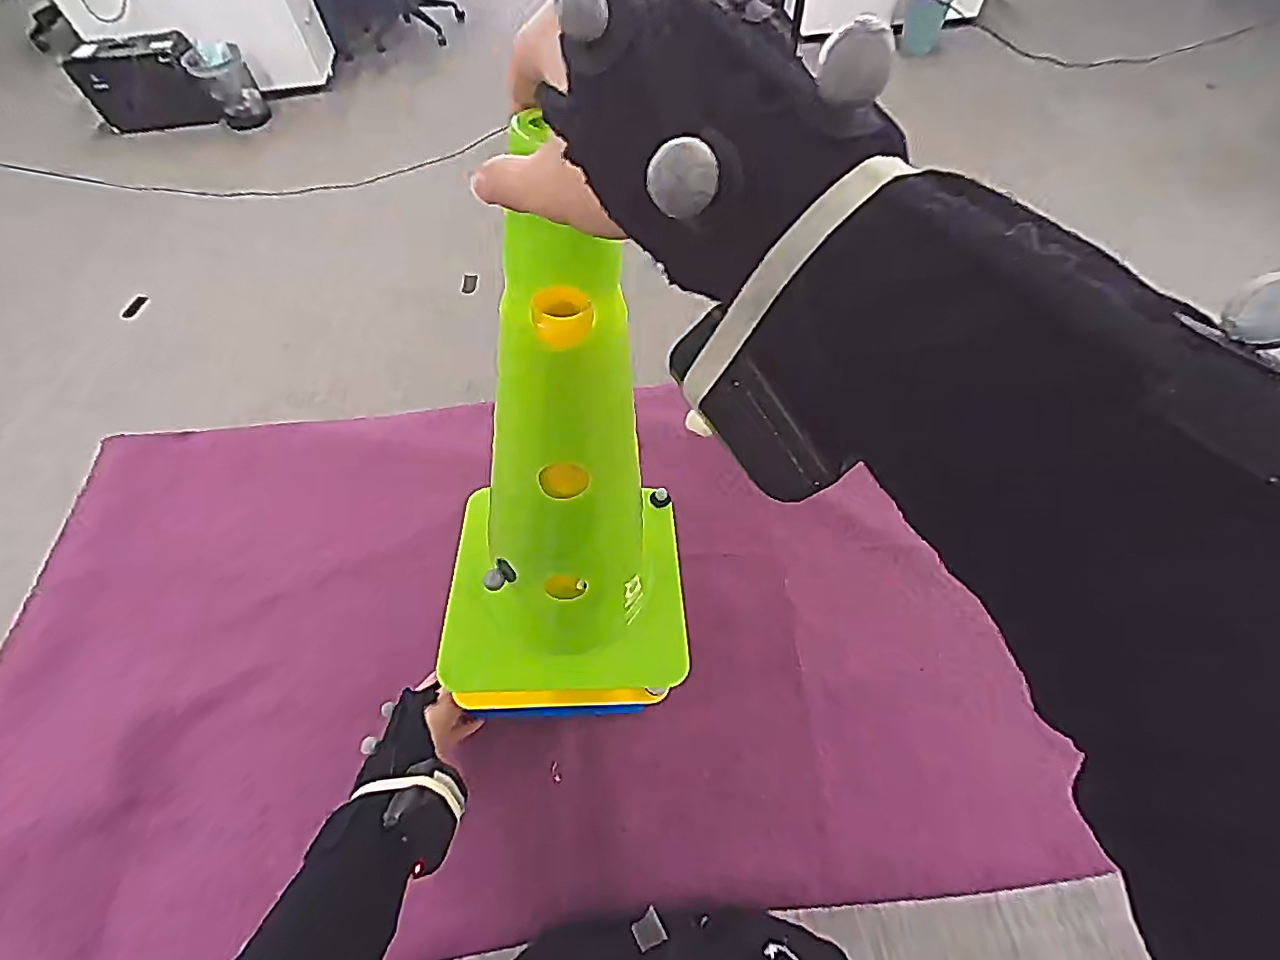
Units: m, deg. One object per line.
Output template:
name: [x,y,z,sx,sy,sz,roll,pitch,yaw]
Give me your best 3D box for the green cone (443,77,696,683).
green cone: [-0.041,-0.033,0.342,0.200,0.368,0.202,0,51,-7]
